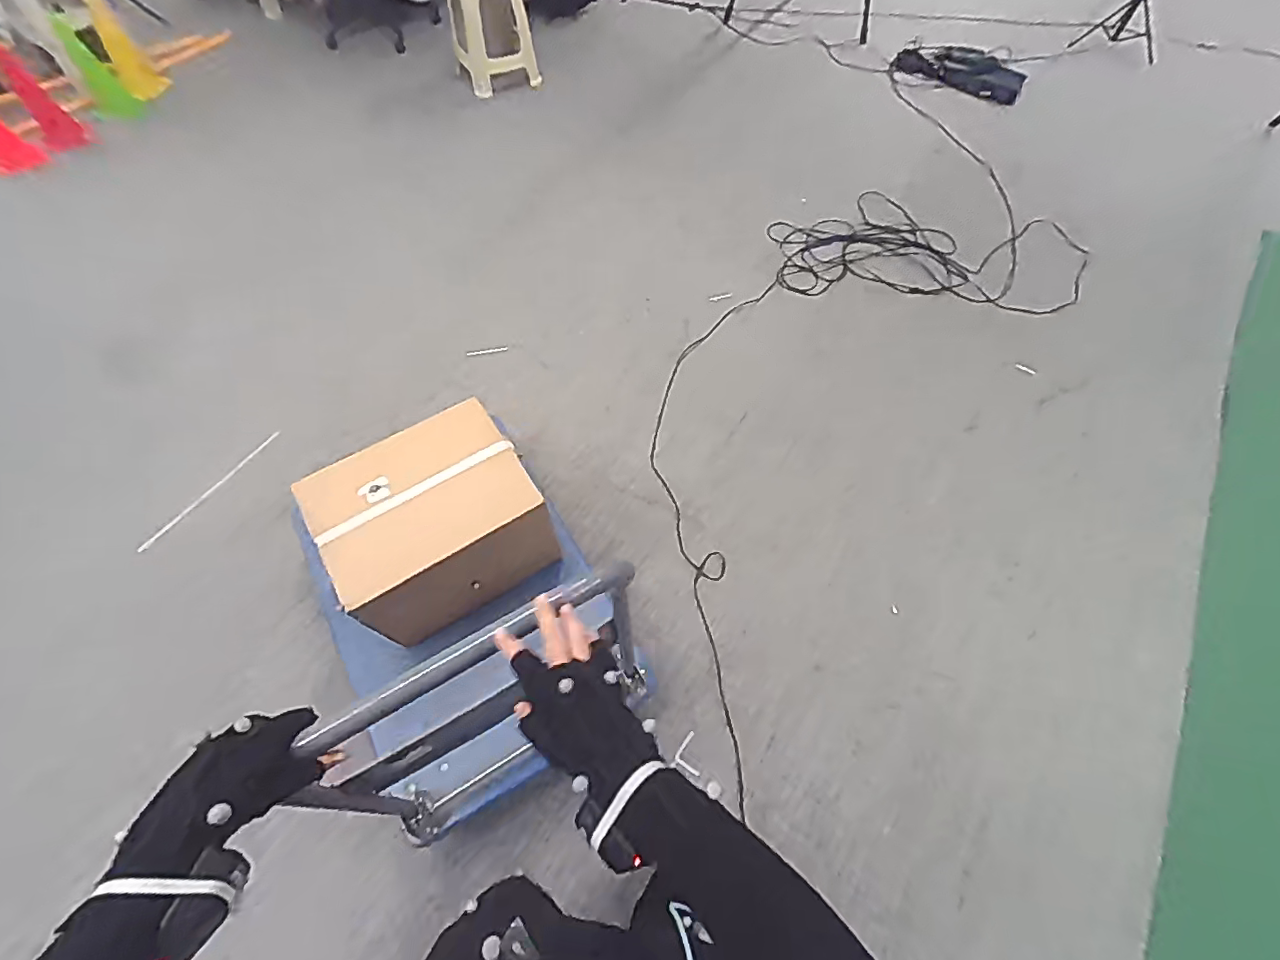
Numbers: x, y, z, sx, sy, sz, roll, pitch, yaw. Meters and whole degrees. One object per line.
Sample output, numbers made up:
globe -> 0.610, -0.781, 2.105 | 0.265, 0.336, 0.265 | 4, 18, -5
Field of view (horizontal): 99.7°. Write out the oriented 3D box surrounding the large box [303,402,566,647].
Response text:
large box -> -0.425, 0.106, 1.205 | 0.408, 0.320, 0.320 | -32, 66, -16
